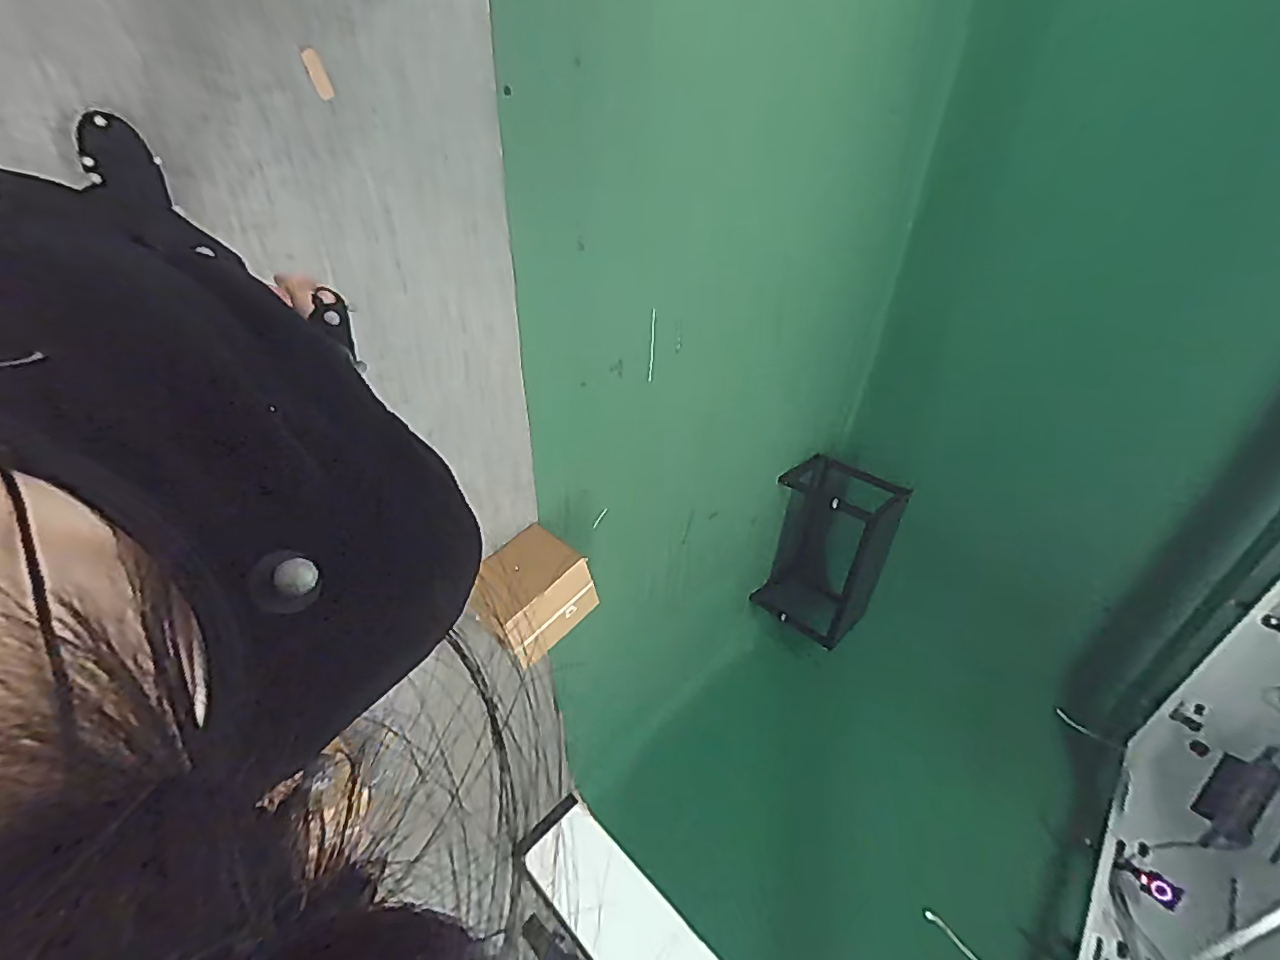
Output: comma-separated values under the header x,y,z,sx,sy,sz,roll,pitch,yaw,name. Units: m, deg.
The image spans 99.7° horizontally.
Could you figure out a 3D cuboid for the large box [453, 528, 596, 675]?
x,y,z,sx,sy,sz,roll,pitch,yaw,name
-0.446,0.470,2.136,0.408,0.320,0.320,-41,141,-29,large box
